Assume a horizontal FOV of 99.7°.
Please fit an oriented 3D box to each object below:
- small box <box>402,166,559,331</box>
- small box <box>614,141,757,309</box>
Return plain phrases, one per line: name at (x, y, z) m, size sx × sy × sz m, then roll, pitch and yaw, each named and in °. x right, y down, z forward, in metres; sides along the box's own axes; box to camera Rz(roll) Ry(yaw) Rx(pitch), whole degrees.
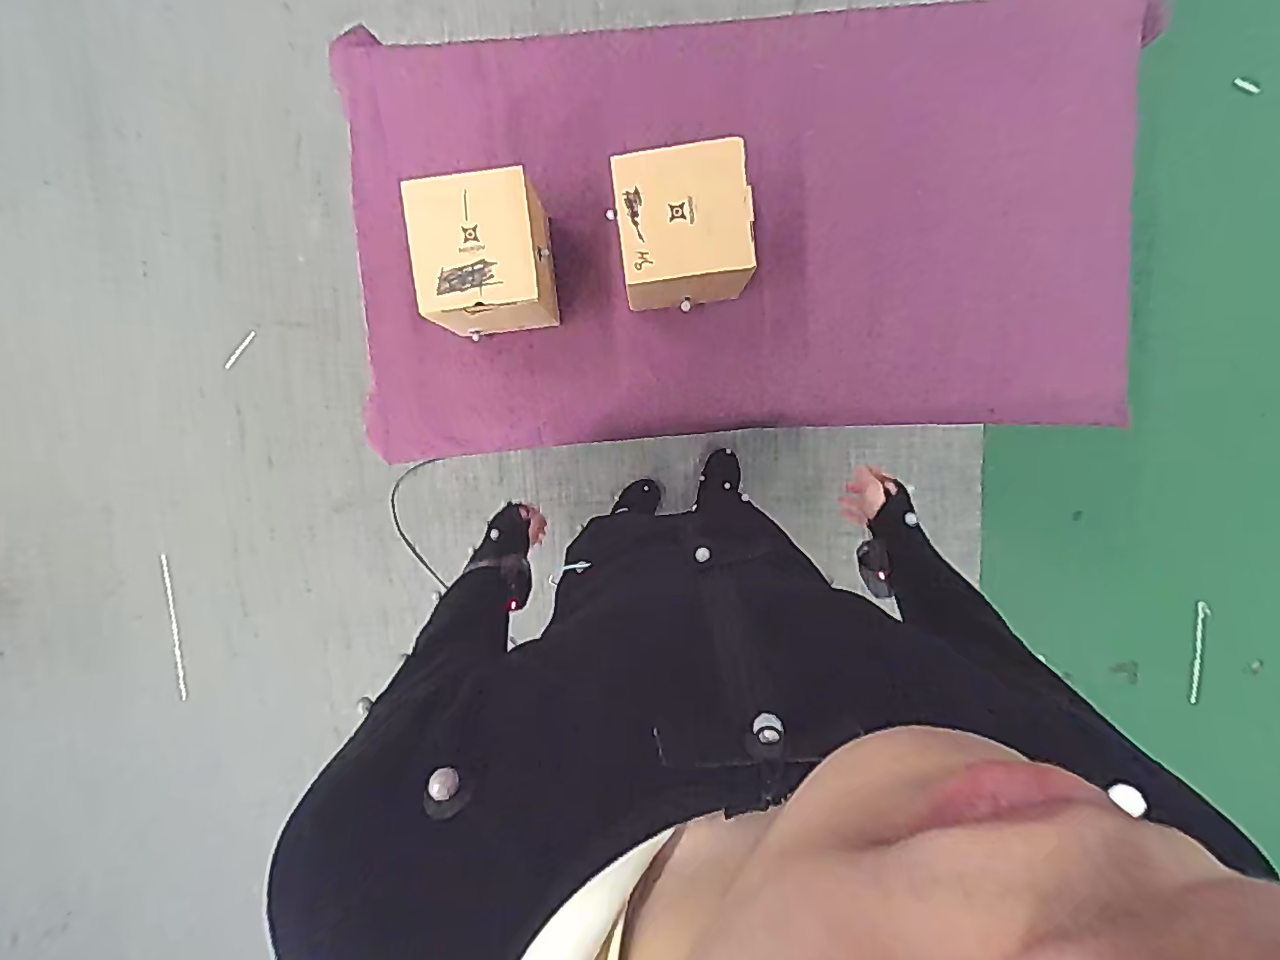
small box at (-0.220, -0.322, 0.792) m, size 0.168 × 0.176 × 0.179 m, roll -6°, pitch 94°, yaw 2°
small box at (0.061, -0.355, 0.782) m, size 0.179 × 0.176 × 0.168 m, roll -7°, pitch 95°, yaw 2°
